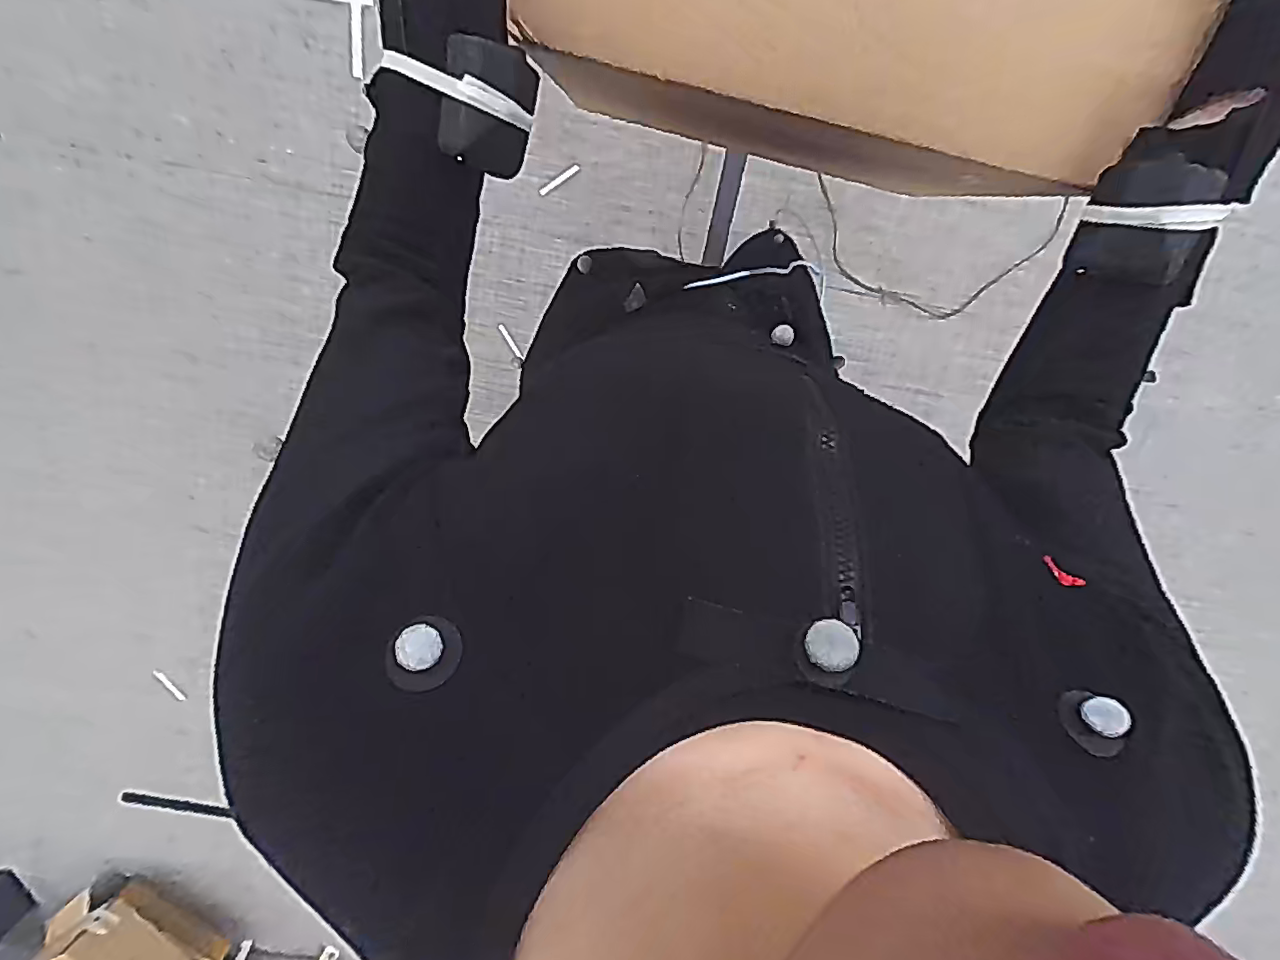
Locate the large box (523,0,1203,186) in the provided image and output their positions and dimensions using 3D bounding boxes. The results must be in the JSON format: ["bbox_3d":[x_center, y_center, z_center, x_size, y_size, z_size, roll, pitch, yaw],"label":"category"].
[{"bbox_3d":[0.150,-0.436,0.409,0.408,0.320,0.320,11,119,-5],"label":"large box"}]
